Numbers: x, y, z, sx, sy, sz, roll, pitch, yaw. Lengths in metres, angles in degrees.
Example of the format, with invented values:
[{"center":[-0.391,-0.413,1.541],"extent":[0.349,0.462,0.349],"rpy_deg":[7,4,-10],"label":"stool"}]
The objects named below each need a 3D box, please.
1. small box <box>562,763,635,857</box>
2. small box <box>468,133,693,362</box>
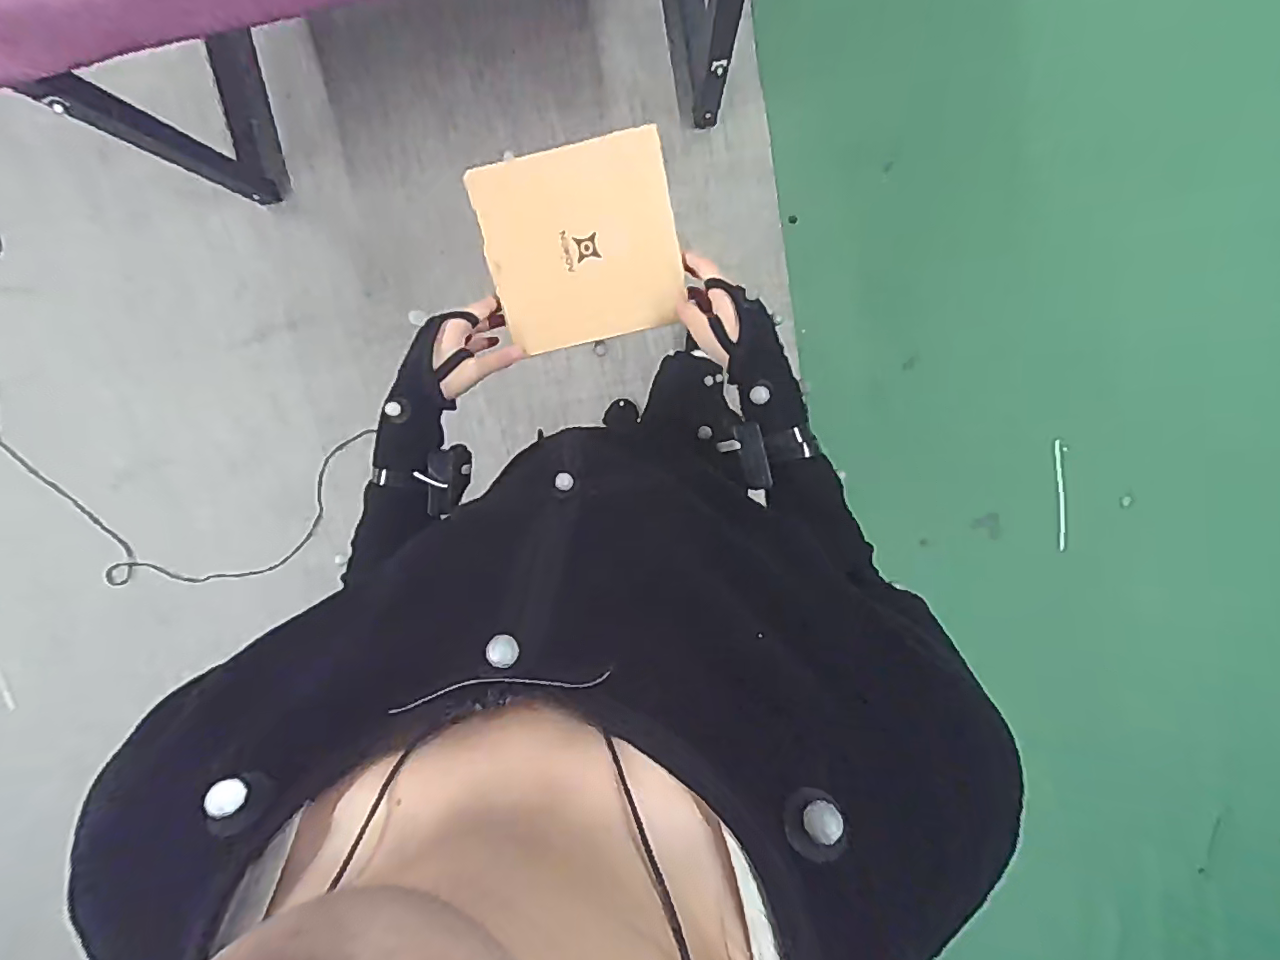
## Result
[{"center":[-0.115,0.939,1.537],"extent":[0.179,0.176,0.168],"rpy_deg":[-15,97,7],"label":"small box"},{"center":[-0.051,-0.233,0.572],"extent":[0.179,0.176,0.168],"rpy_deg":[-13,107,6],"label":"small box"}]
